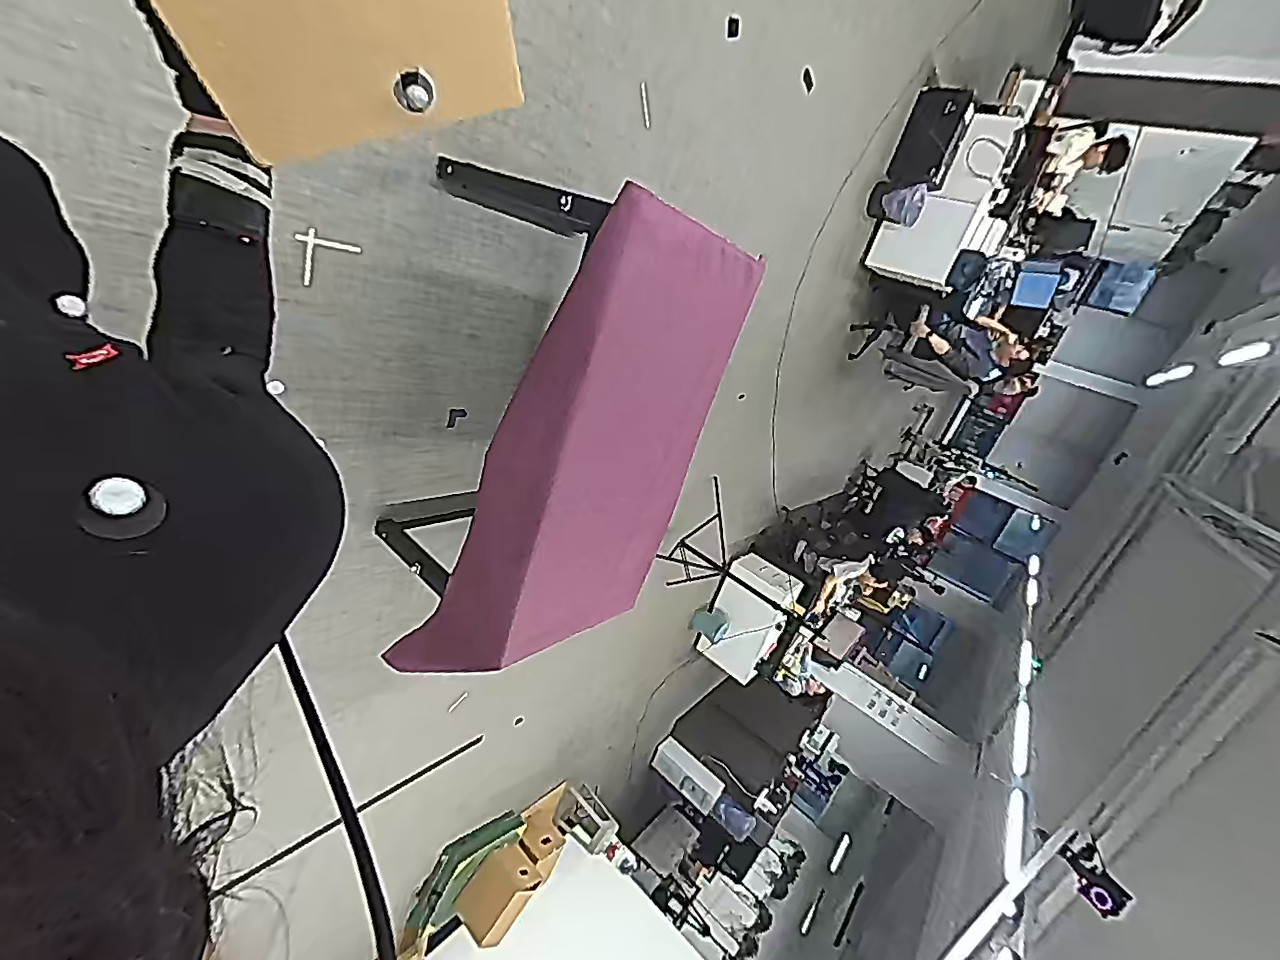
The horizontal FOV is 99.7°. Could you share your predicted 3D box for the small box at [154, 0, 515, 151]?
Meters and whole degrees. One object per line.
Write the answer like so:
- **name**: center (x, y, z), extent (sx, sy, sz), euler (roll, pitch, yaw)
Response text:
- **small box**: center (-0.183, -0.322, 0.281), extent (0.168, 0.179, 0.176), euler (-23, 158, -12)
